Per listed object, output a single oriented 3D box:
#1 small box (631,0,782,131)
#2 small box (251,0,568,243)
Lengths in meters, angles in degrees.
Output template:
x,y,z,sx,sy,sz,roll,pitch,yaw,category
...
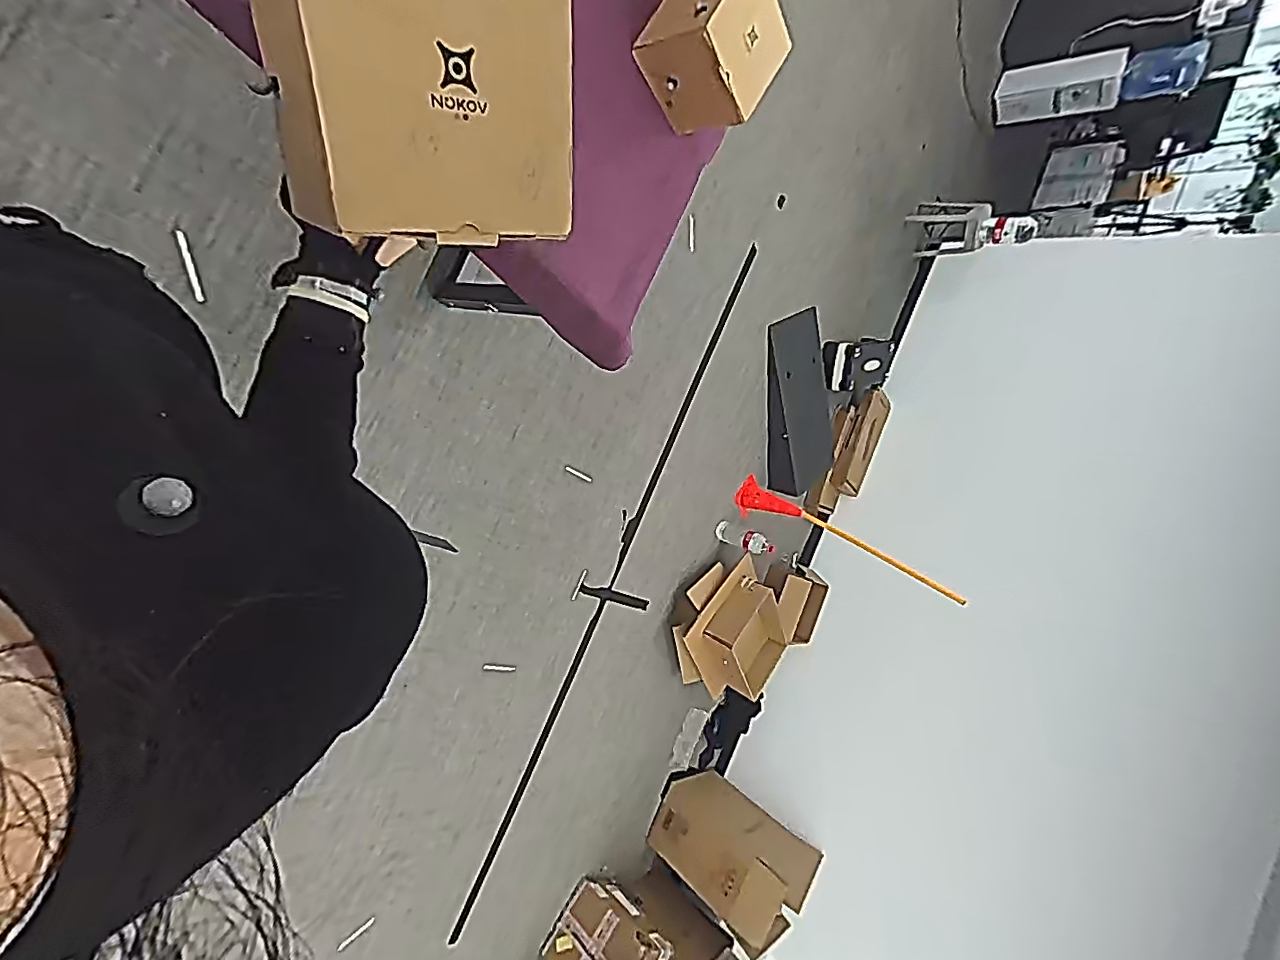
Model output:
x,y,z,sx,sy,sz,roll,pitch,yaw,category
0.114,-0.751,0.946,0.168,0.176,0.179,37,81,-49,small box
-0.168,-0.281,0.398,0.168,0.176,0.179,-17,125,-35,small box
